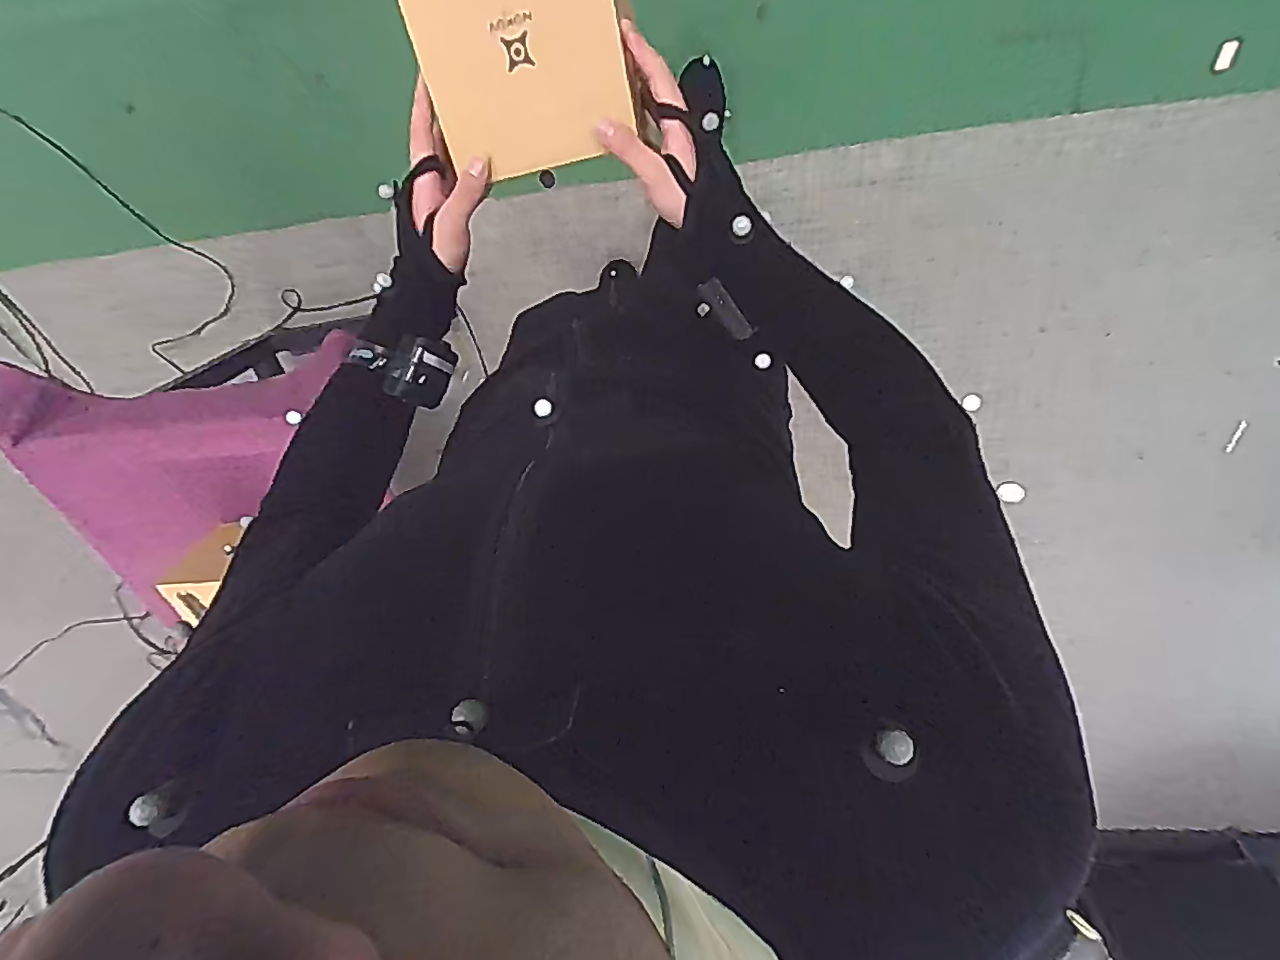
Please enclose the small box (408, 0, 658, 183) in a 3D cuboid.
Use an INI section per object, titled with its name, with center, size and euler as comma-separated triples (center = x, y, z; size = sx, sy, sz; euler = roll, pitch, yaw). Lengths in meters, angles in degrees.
[small box]
center = -0.082, -0.386, 0.483
size = 0.168, 0.176, 0.179
euler = -8, 120, 10
